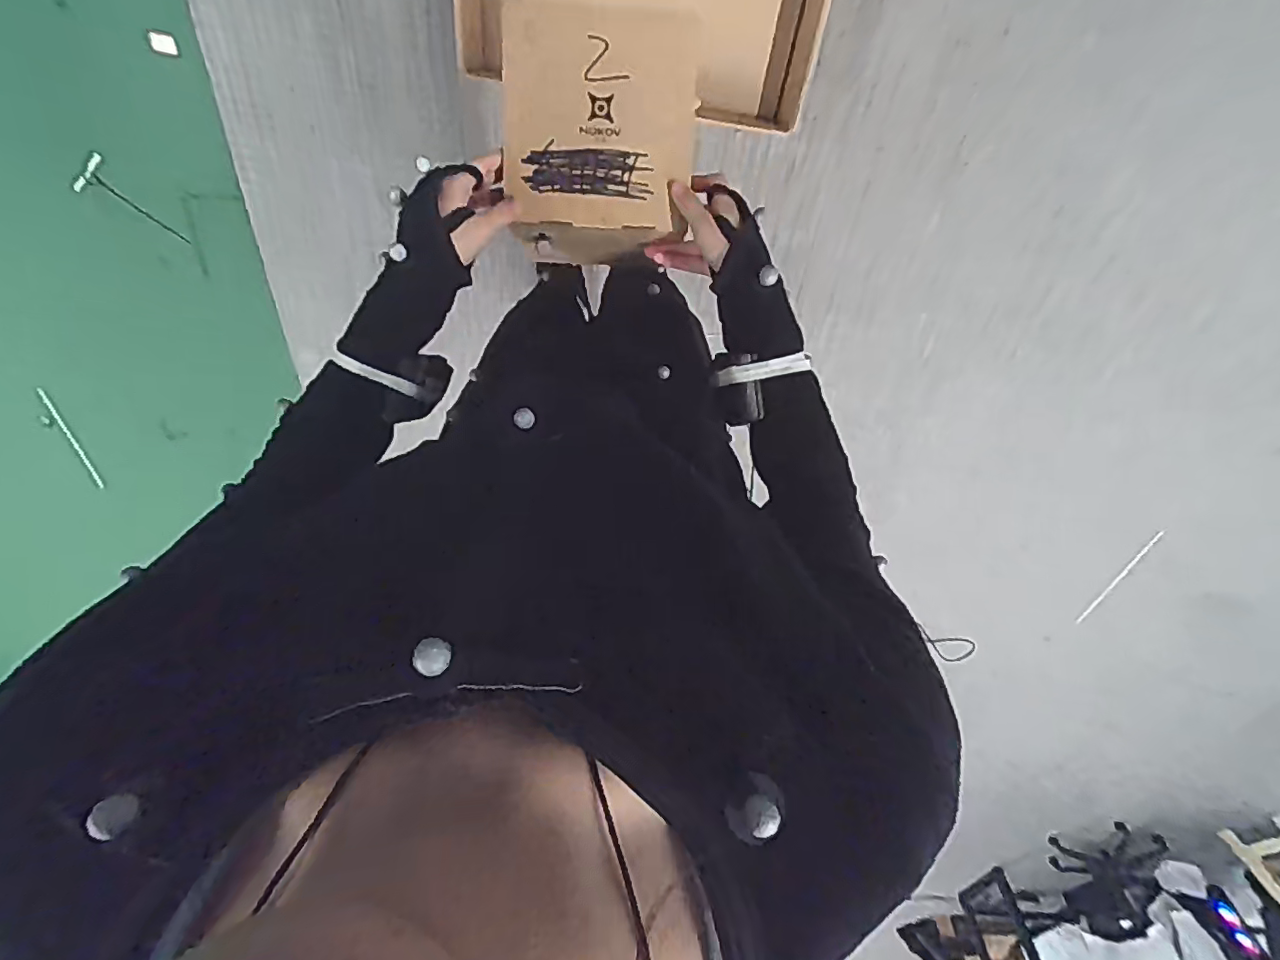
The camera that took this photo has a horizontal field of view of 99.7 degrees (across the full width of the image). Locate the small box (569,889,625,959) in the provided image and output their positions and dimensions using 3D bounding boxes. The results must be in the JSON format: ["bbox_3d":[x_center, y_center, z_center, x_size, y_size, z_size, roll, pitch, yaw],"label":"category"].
[{"bbox_3d":[-0.147,1.590,1.928,0.168,0.176,0.179,-3,127,5],"label":"small box"}]

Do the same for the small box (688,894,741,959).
[{"bbox_3d":[0.258,1.602,1.923,0.168,0.176,0.179,2,128,2],"label":"small box"}]

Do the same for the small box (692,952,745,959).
[{"bbox_3d":[0.256,1.682,1.778,0.179,0.176,0.168,1,128,2],"label":"small box"}]
